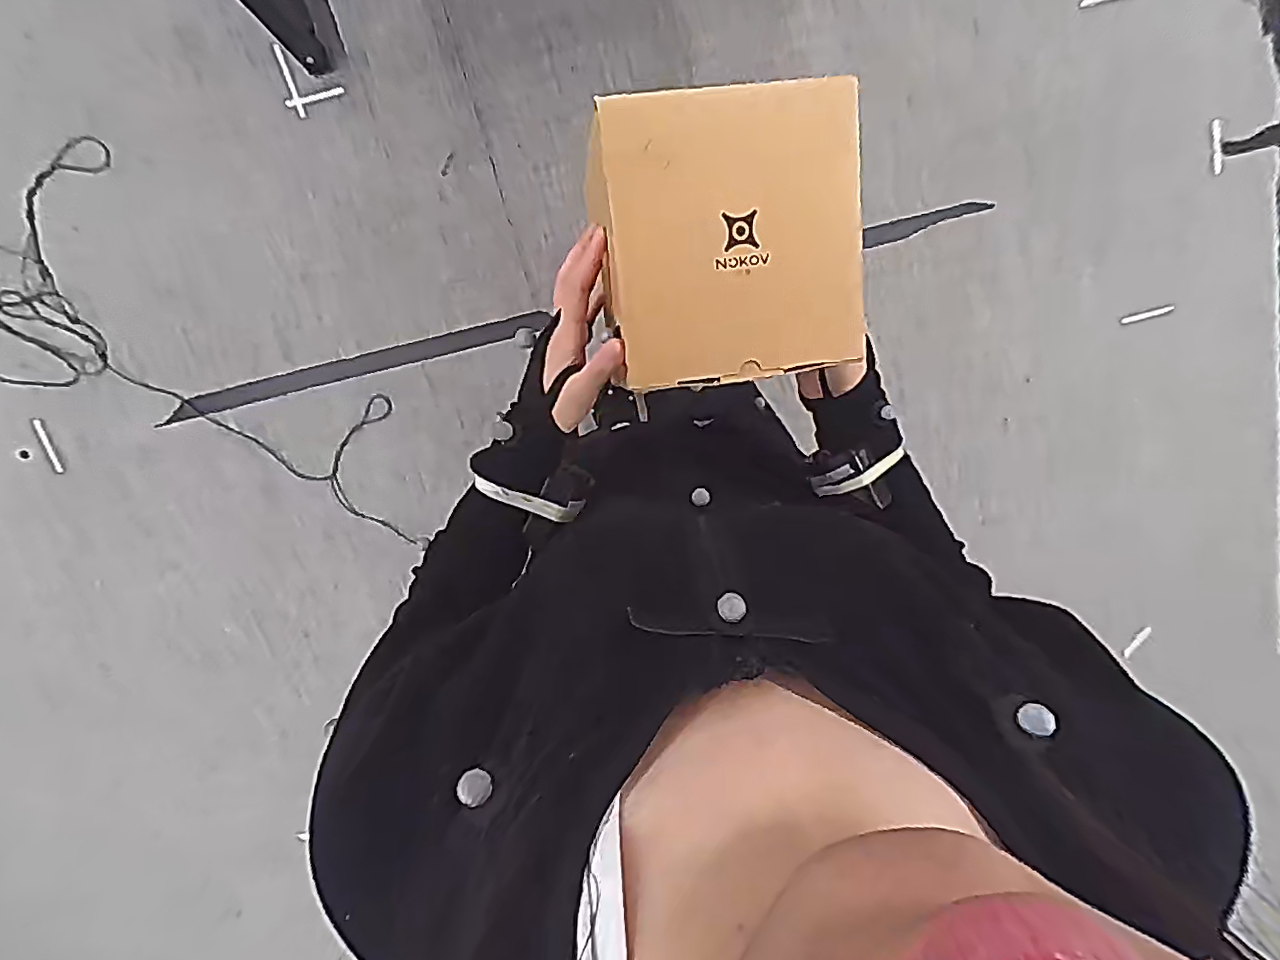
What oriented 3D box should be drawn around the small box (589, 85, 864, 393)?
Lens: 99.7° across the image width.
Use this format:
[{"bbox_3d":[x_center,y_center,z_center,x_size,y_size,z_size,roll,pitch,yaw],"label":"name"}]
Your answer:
[{"bbox_3d":[0.054,-0.168,0.426,0.168,0.176,0.179,-9,103,-5],"label":"small box"}]
